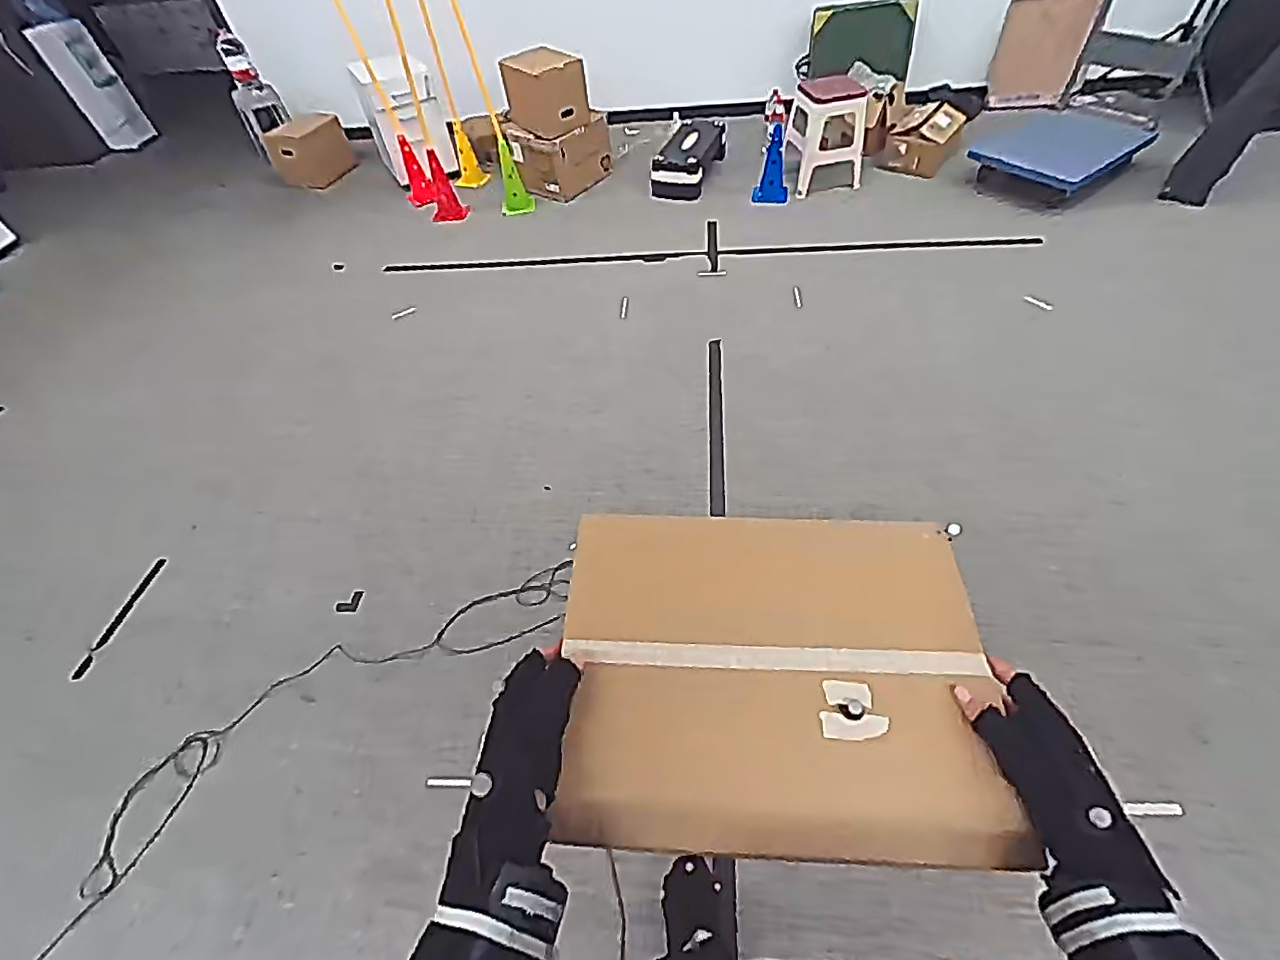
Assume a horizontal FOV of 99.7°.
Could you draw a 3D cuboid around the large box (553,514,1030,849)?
[{"bbox_3d":[0.129,0.252,0.652,0.408,0.320,0.320,1,56,3],"label":"large box"}]
